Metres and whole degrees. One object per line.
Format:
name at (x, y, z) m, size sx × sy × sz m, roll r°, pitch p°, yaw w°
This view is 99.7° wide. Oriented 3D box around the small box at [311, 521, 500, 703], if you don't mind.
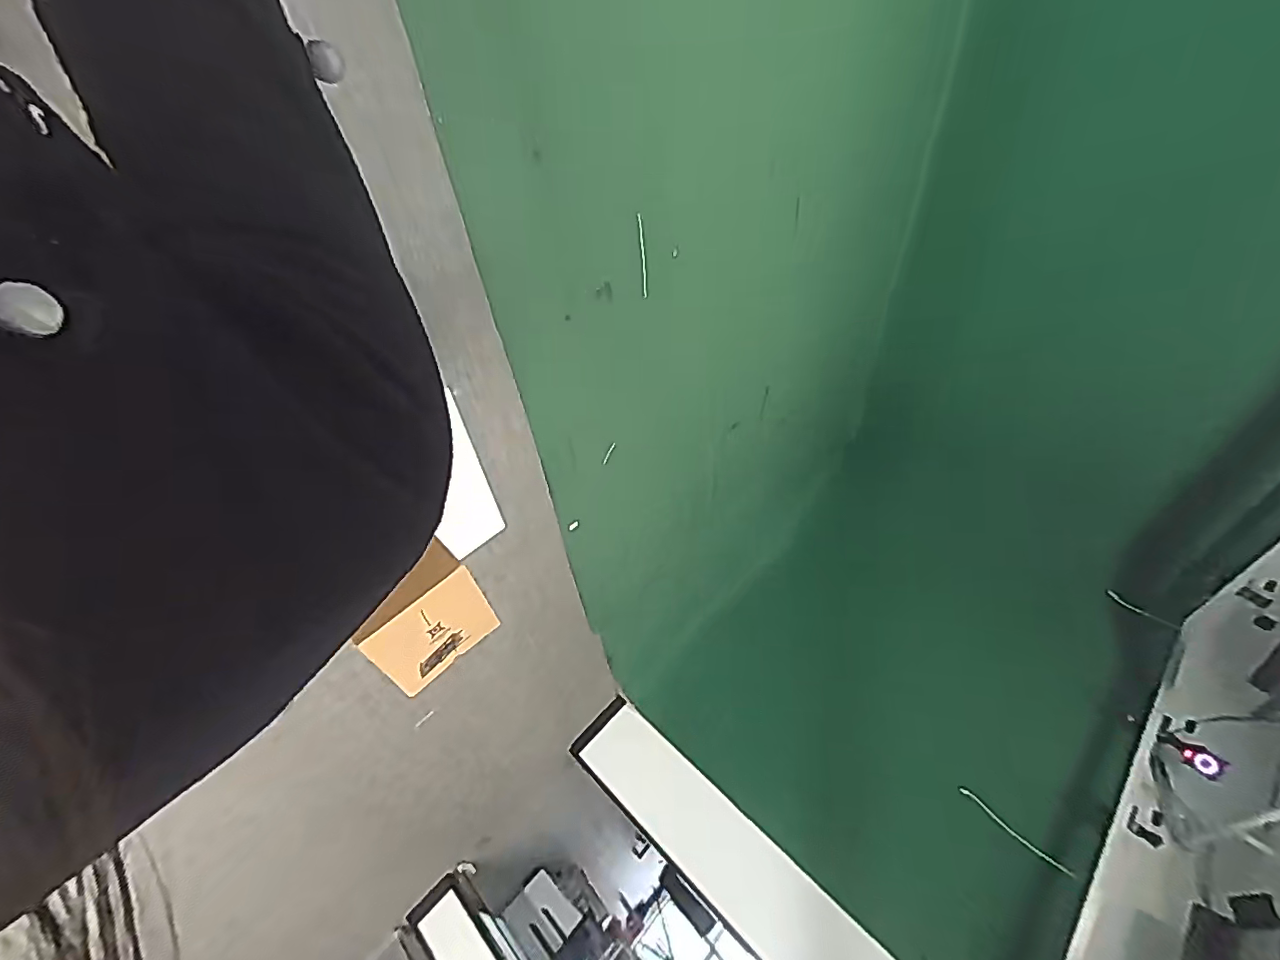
small box at (-0.346, 0.193, 0.813) m, size 0.168 × 0.176 × 0.179 m, roll -41°, pitch 146°, yaw -22°
